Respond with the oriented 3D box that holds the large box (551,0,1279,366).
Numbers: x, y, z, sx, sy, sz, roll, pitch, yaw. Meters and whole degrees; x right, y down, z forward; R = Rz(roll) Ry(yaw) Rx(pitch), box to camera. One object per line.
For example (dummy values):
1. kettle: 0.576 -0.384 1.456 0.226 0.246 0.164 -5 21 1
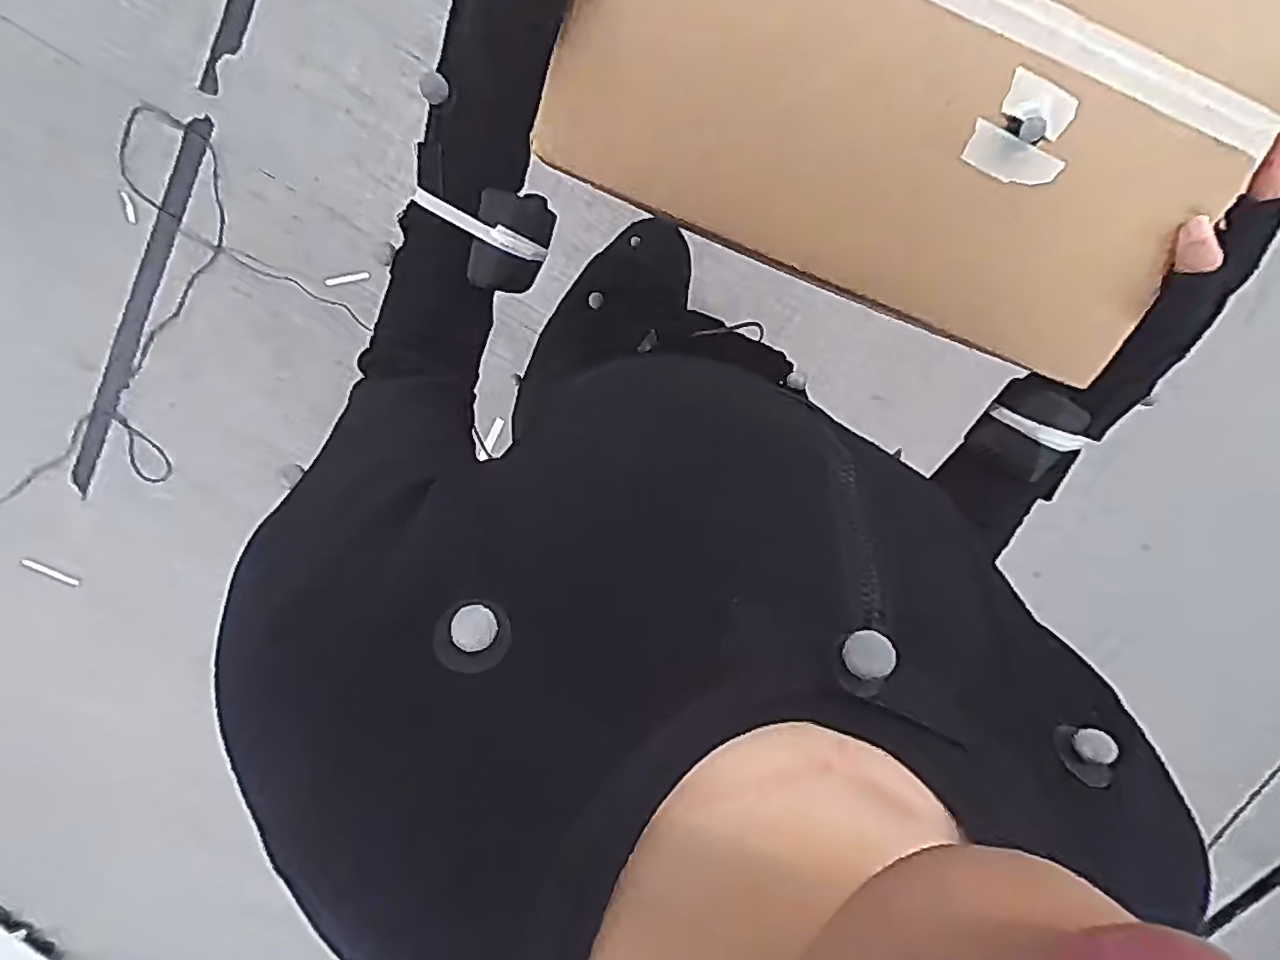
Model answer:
1. large box: 0.181 -0.335 0.439 0.408 0.320 0.320 20 115 -7
